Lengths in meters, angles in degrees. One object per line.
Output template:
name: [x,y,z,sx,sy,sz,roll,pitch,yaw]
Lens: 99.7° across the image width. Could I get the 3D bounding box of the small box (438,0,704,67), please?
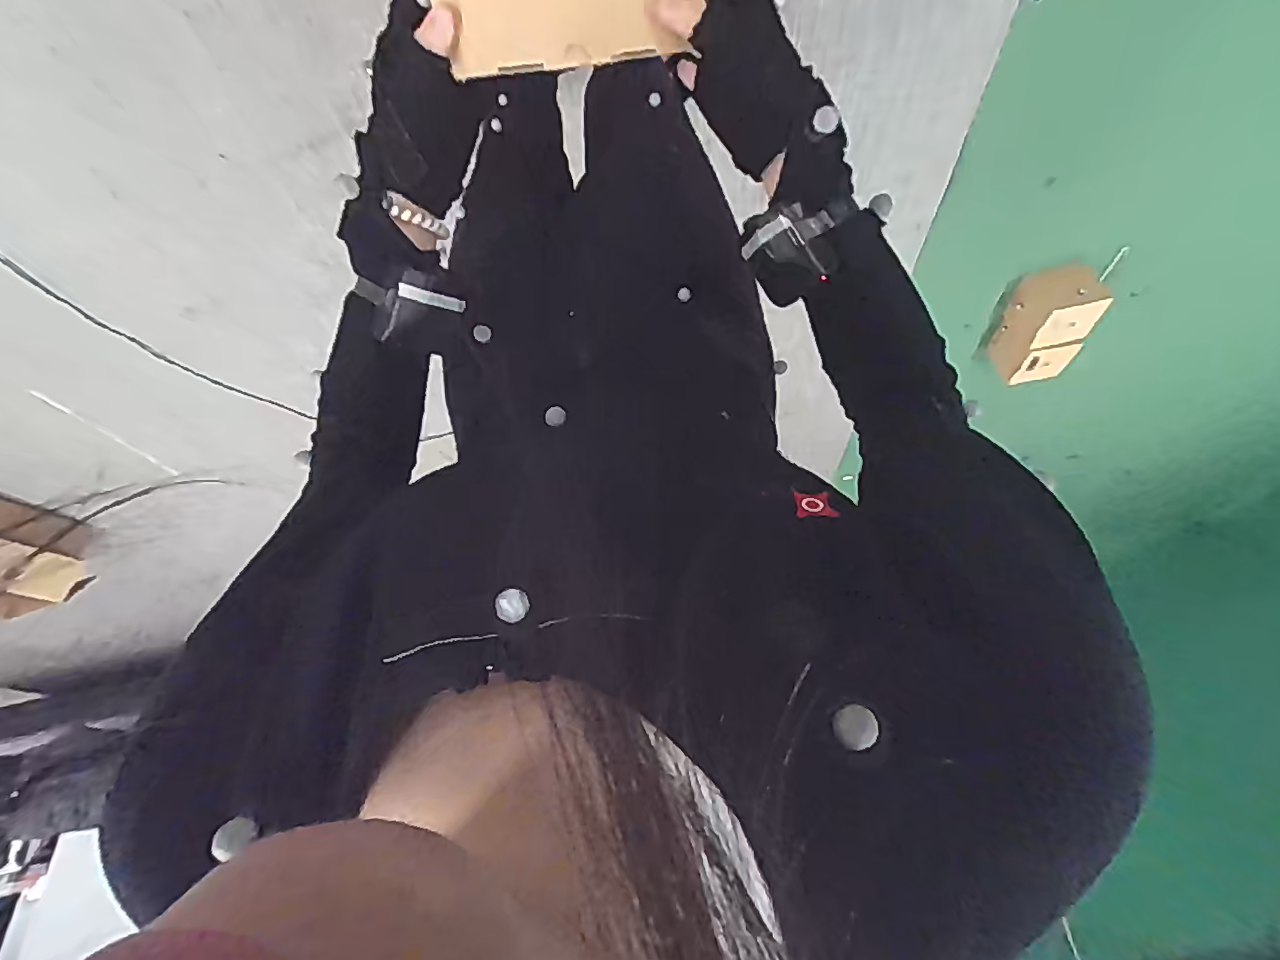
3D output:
small box: [-0.055,-0.394,0.342,0.168,0.176,0.179,-8,138,0]
